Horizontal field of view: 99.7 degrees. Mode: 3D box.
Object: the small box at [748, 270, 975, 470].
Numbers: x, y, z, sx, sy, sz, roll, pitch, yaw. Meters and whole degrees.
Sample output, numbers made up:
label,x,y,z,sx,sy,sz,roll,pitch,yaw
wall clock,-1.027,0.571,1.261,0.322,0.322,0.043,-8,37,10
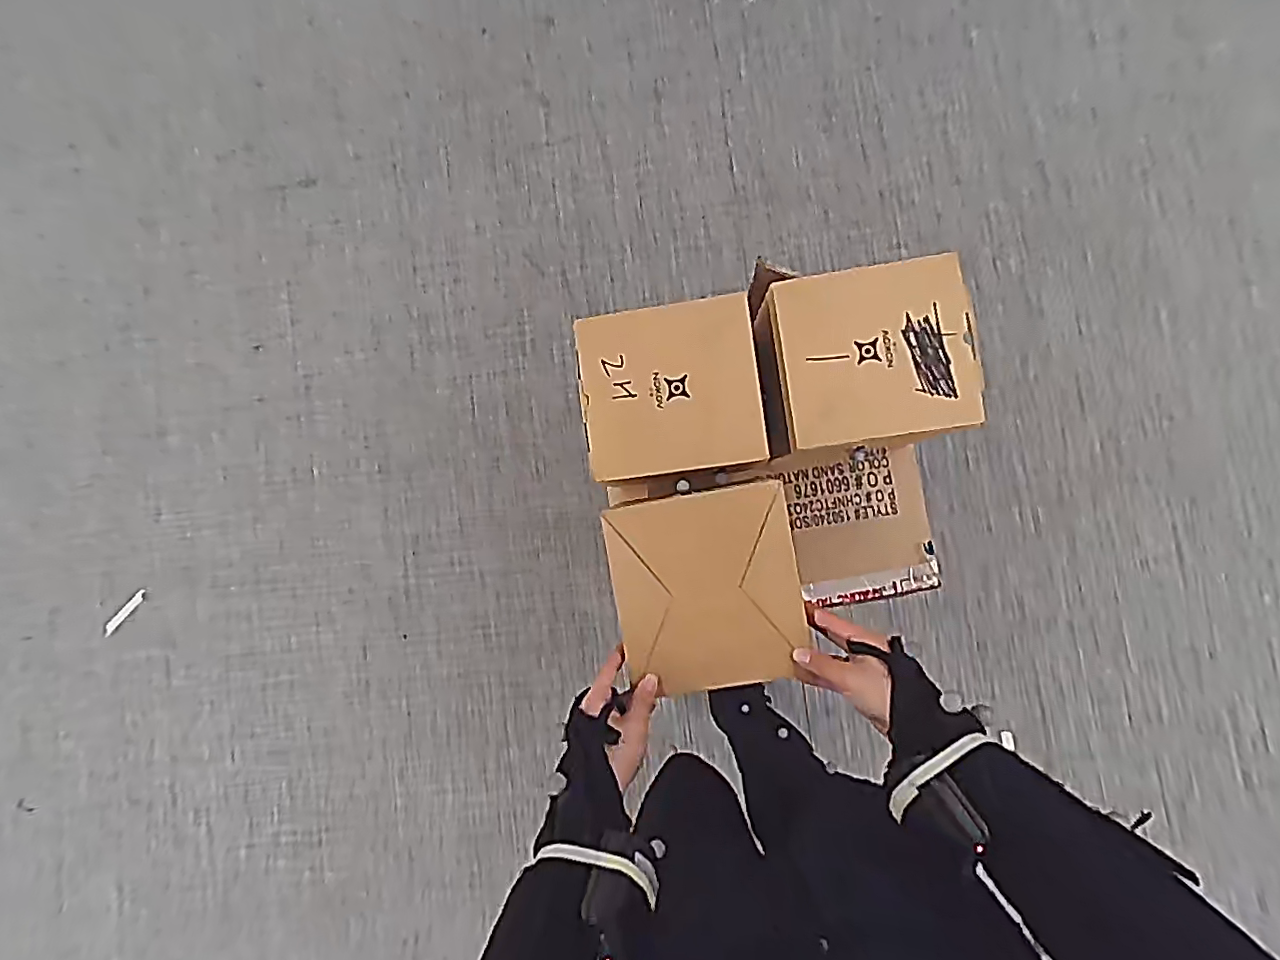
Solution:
label,x,y,z,sx,sy,sz,roll,pitch,yaw
small box,0.226,-0.106,0.596,0.179,0.176,0.168,-8,86,4
